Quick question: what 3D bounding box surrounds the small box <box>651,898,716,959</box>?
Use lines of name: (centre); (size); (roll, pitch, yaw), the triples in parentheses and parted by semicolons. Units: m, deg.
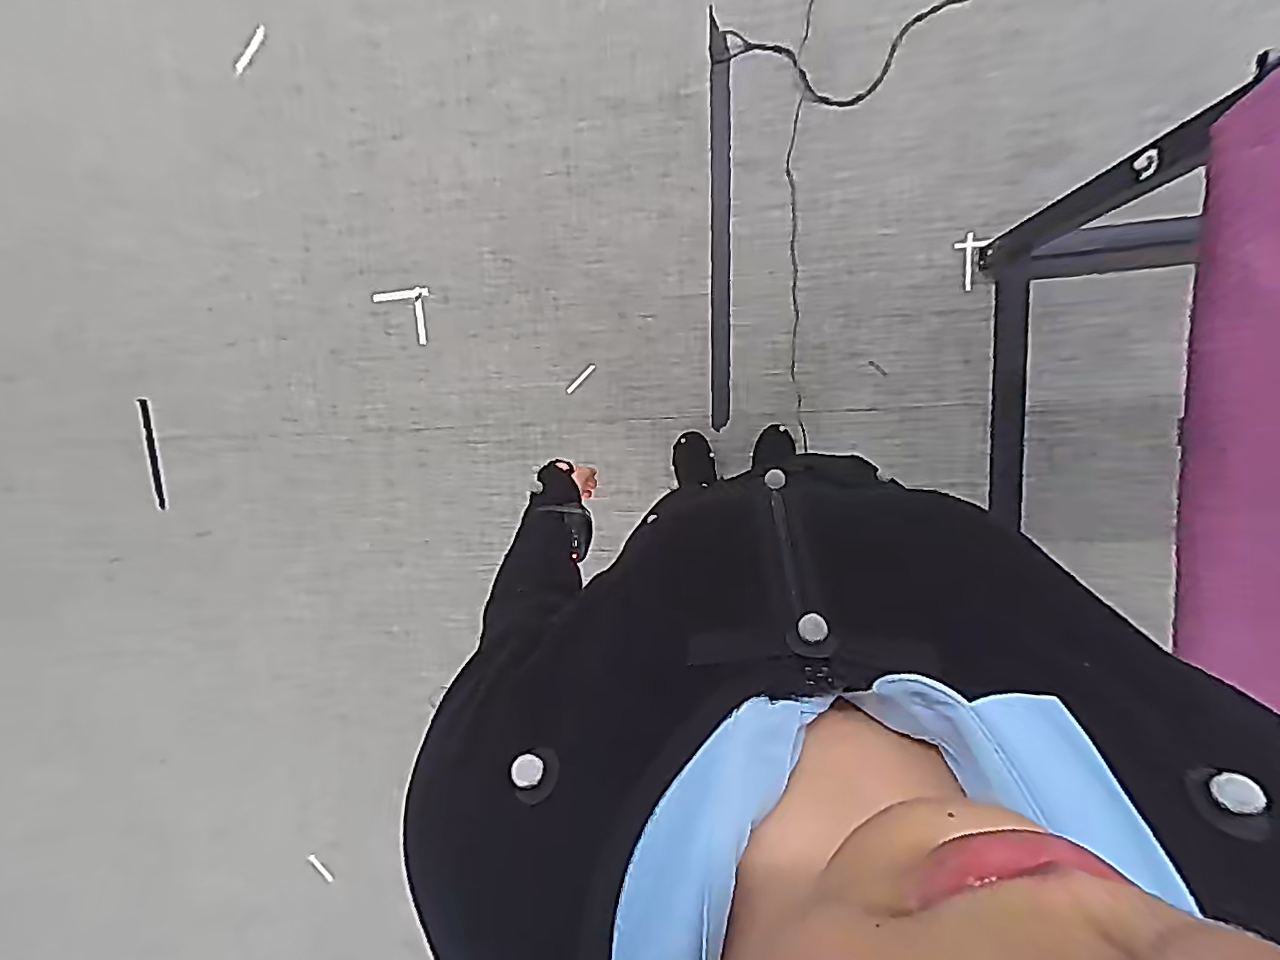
small box: (0.132, 1.369, 1.571); (0.168, 0.176, 0.179); (-6, 97, 9)
